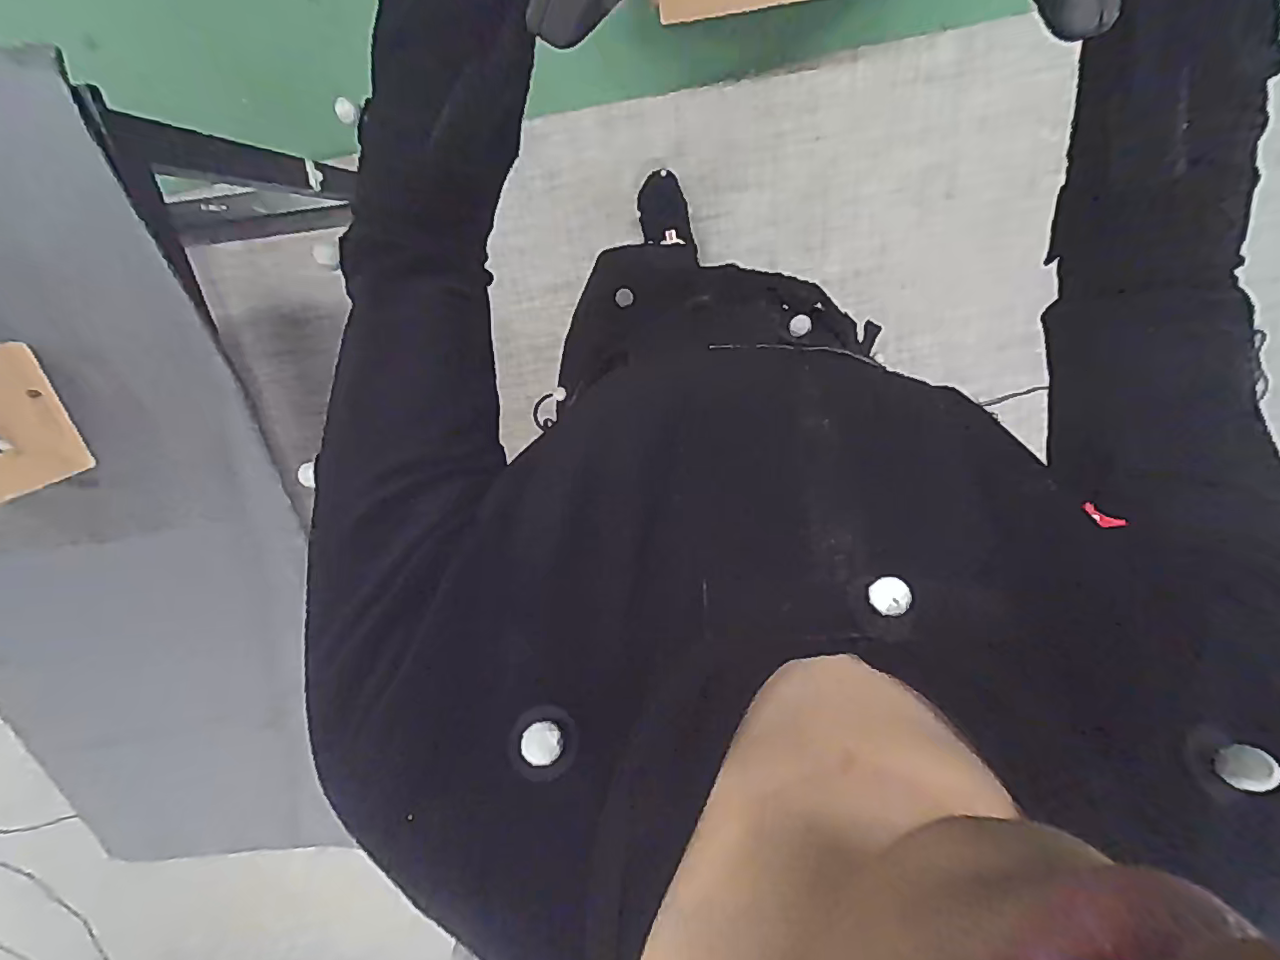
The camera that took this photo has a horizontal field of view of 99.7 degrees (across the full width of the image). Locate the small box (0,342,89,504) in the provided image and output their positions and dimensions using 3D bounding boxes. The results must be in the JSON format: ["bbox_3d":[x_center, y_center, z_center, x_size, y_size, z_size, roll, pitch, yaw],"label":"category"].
[{"bbox_3d":[-0.821,-0.058,0.634,0.179,0.176,0.168,-7,114,5],"label":"small box"}]
